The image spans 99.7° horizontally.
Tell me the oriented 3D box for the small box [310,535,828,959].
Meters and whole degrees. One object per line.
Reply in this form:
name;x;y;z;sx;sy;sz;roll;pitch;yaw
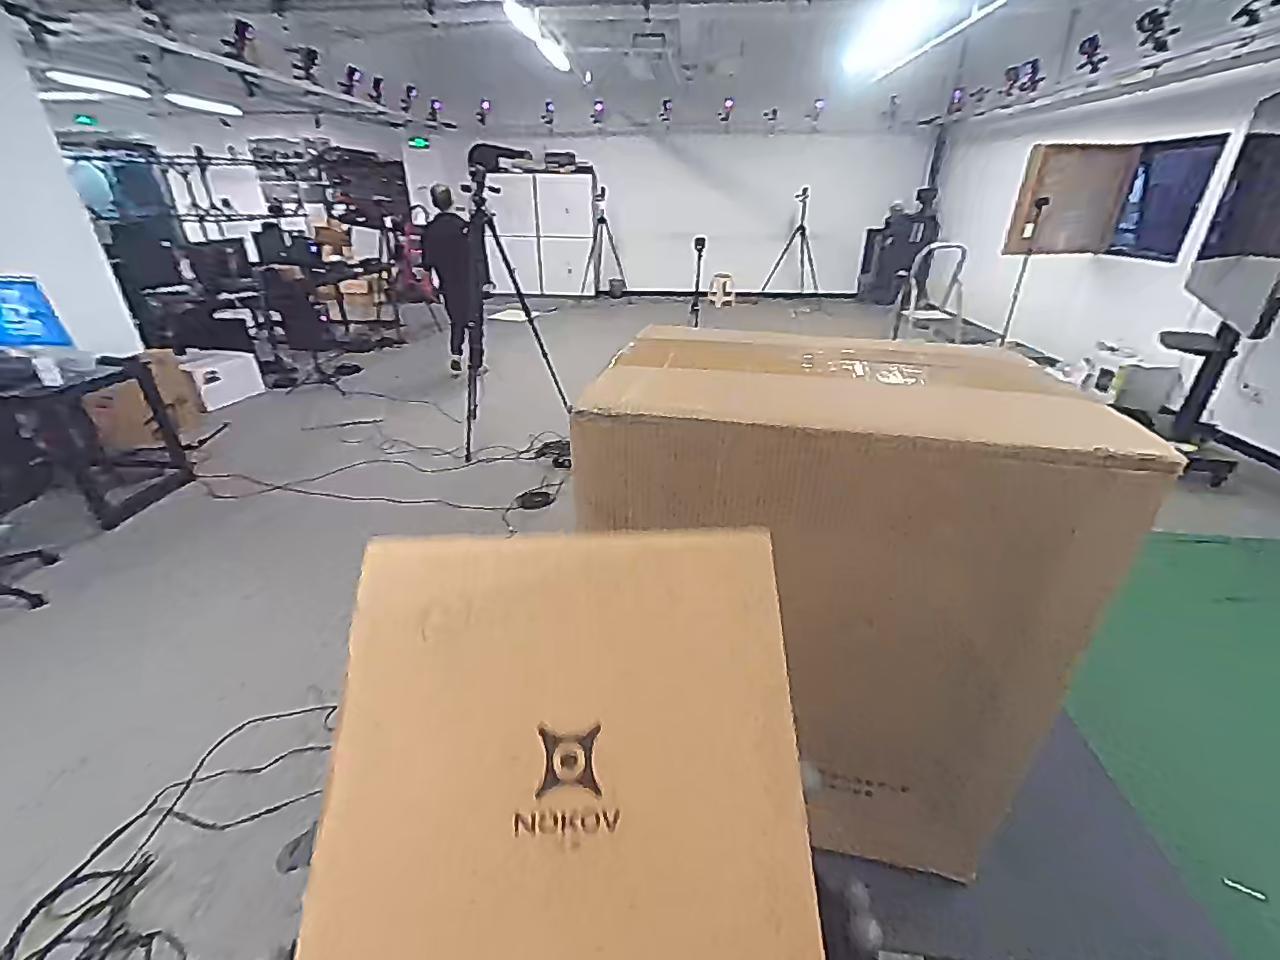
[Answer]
small box;-0.025;0.133;0.264;0.168;0.176;0.179;-1;69;-2
